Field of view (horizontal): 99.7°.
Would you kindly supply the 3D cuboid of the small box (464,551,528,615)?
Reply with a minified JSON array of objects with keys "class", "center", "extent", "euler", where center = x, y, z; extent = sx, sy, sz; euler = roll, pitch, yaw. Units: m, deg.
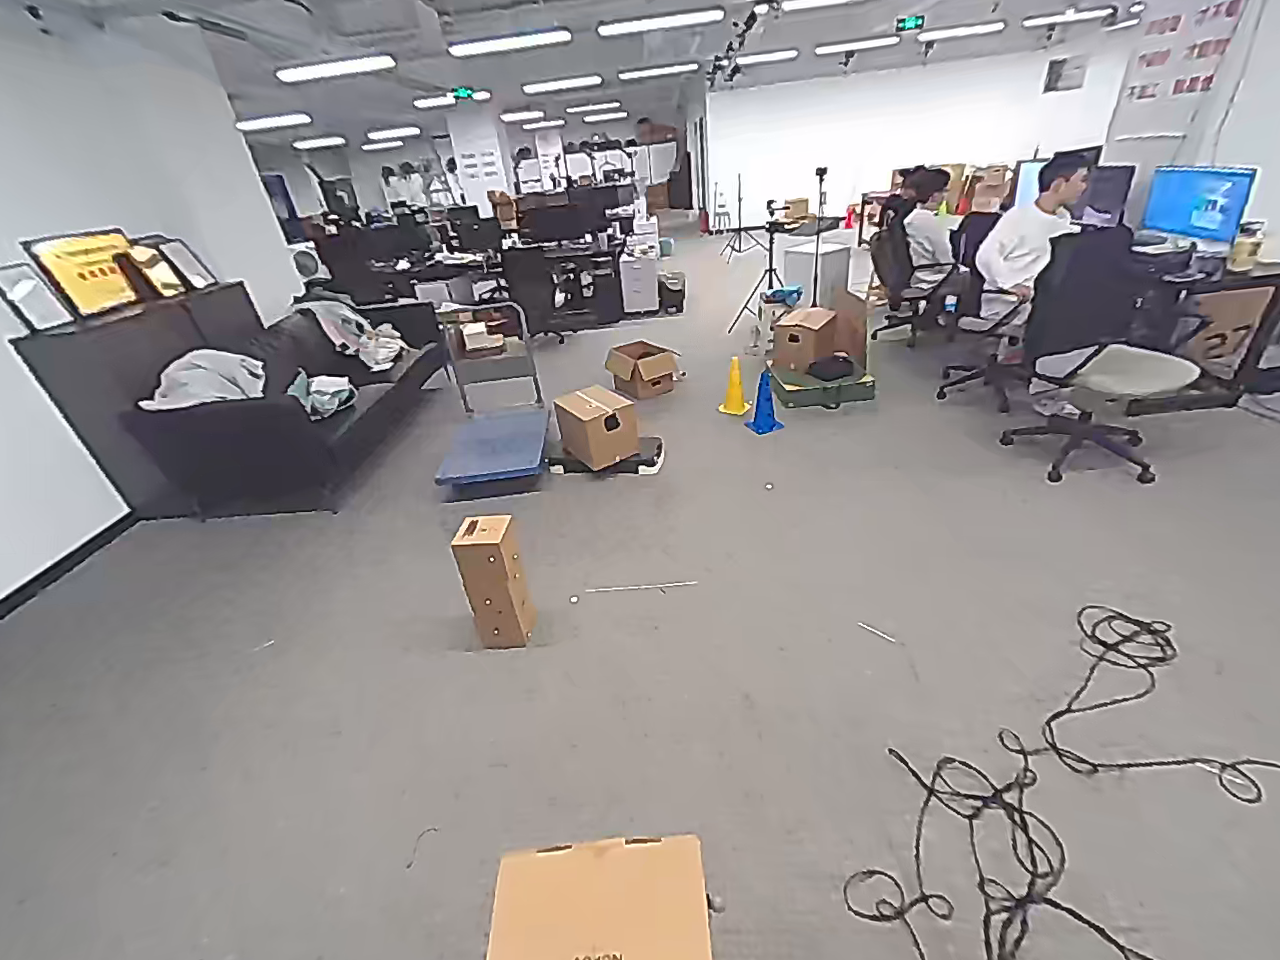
[{"class":"small box","center":[-0.525,0.384,2.006],"extent":[0.168,0.176,0.179],"euler":[-3,31,6]}]

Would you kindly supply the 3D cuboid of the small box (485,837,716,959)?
[{"class":"small box","center":[-0.021,0.413,0.421],"extent":[0.168,0.176,0.179],"euler":[-6,37,2]}]

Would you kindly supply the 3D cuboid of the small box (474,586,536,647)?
[{"class":"small box","center":[-0.514,0.526,2.088],"extent":[0.179,0.176,0.168],"euler":[-4,31,6]}]
